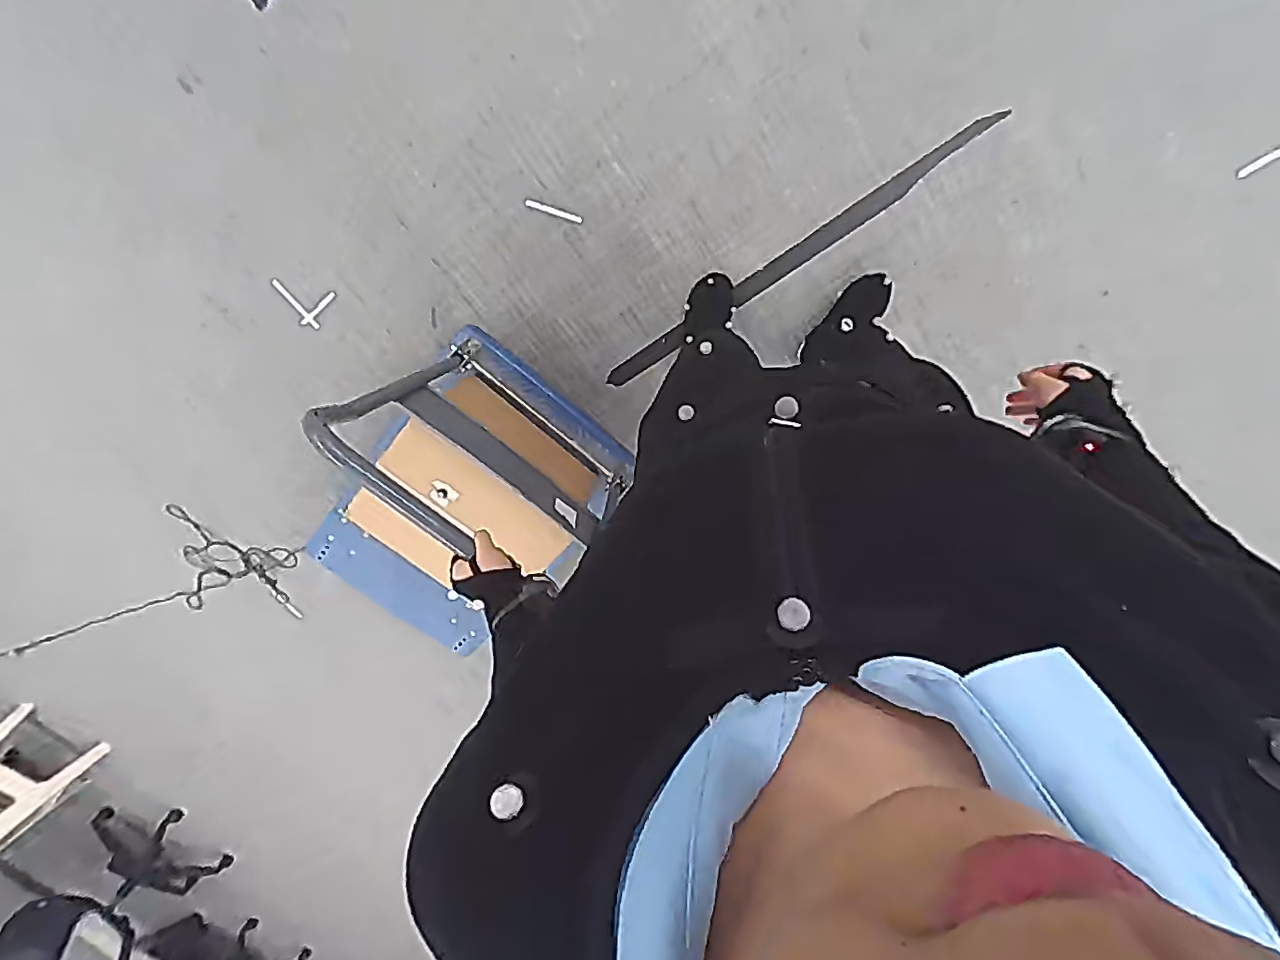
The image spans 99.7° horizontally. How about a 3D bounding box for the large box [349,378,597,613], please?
[{"bbox_3d":[-0.366,0.027,1.281,0.408,0.320,0.320,40,110,-12],"label":"large box"}]
